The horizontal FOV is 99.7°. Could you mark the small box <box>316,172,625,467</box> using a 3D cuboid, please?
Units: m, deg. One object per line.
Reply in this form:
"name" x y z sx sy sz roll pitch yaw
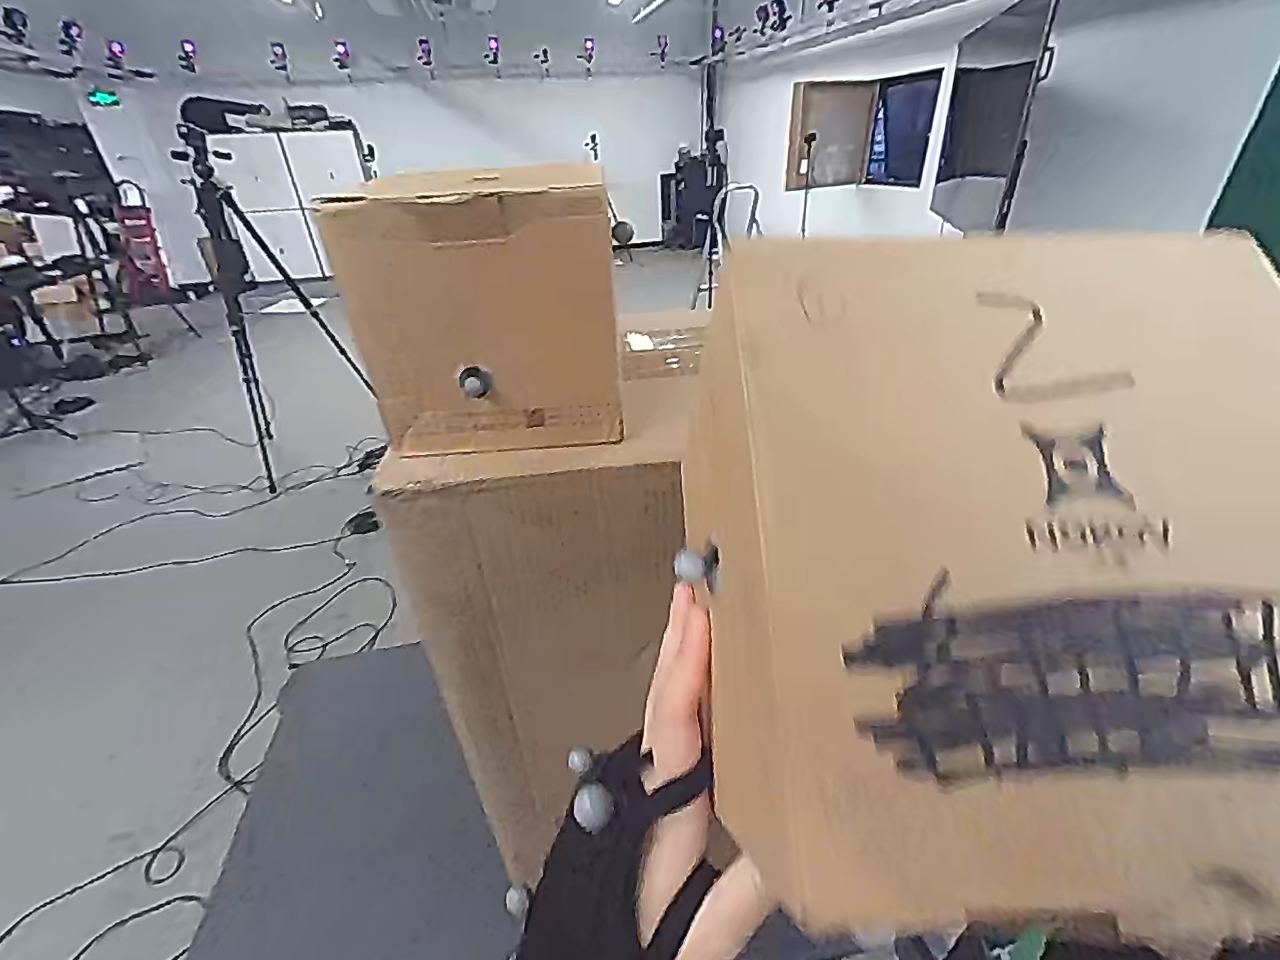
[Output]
"small box" -0.099 -0.126 0.407 0.168 0.176 0.179 -4 35 -2
